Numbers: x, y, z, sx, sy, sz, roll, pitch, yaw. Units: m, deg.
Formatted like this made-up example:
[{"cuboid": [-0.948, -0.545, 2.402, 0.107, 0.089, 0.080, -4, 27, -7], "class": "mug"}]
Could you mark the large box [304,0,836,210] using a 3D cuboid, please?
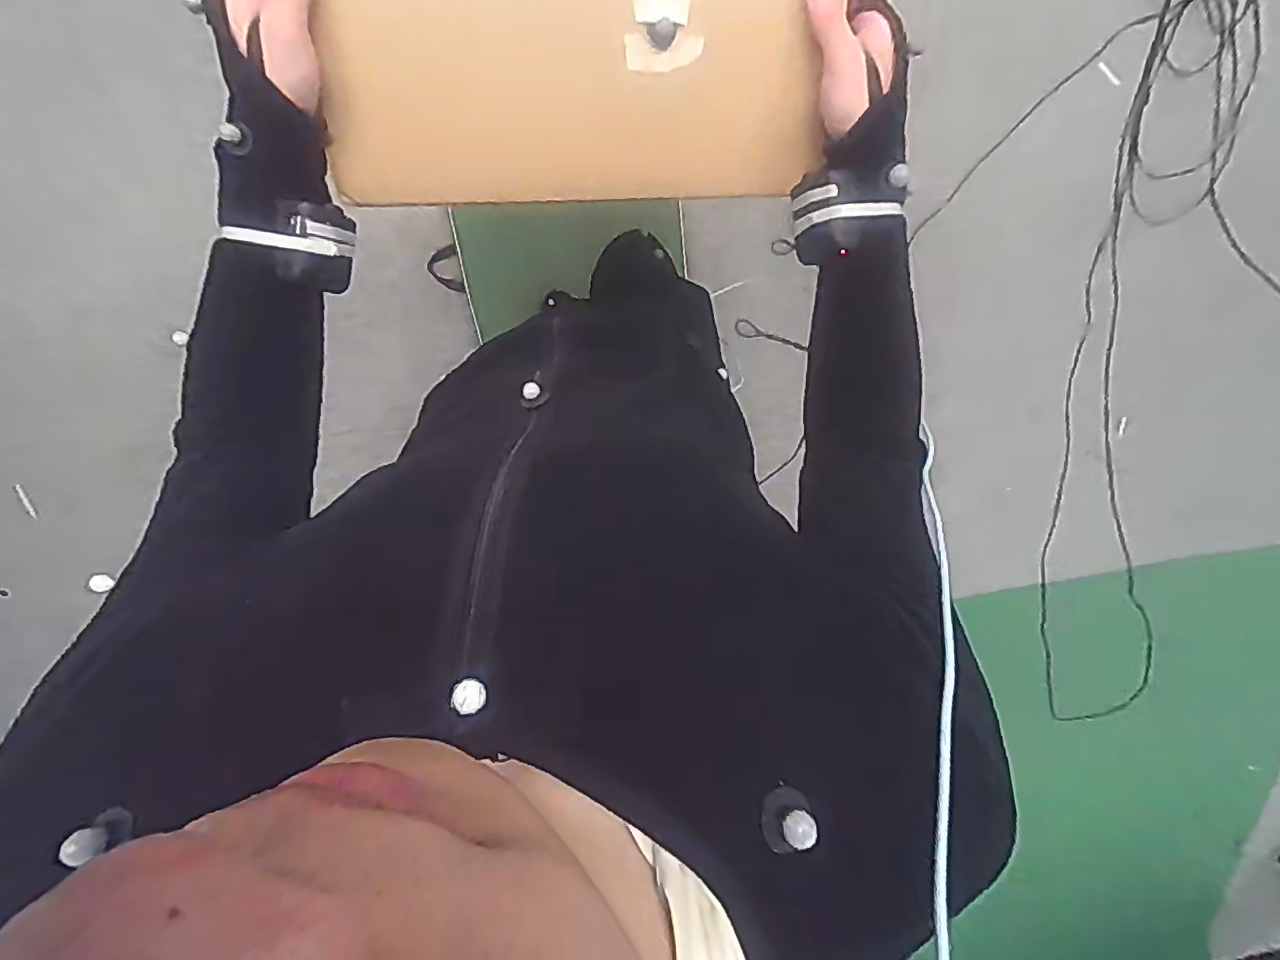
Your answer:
[{"cuboid": [-0.060, -0.454, 0.518, 0.408, 0.320, 0.320, -4, 122, -3], "class": "large box"}]
